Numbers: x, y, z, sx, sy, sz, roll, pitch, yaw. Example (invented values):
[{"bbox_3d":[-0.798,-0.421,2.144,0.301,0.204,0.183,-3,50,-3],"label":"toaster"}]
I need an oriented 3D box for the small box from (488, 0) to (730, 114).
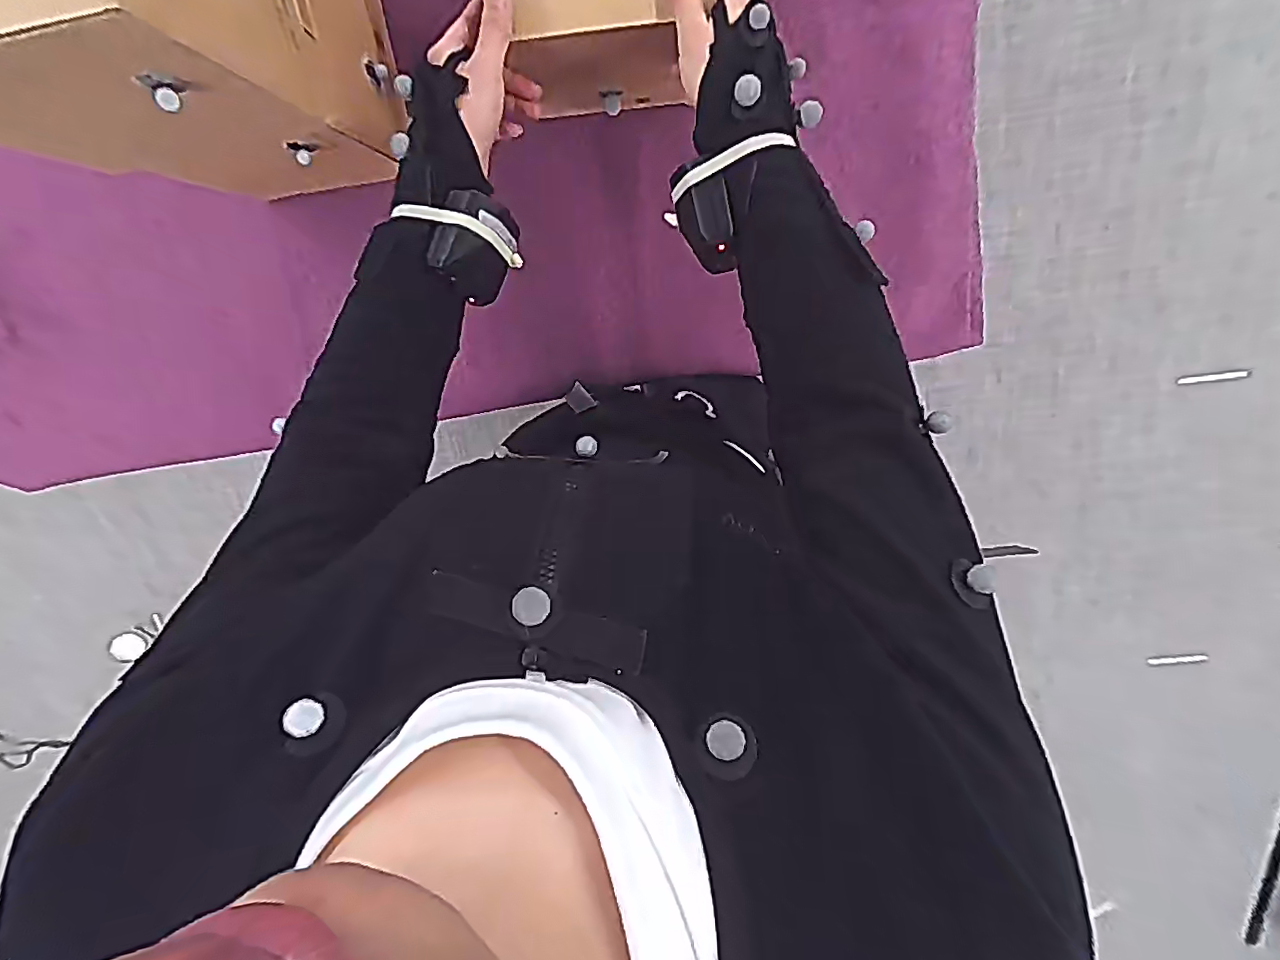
[{"bbox_3d":[-0.024,-0.415,0.416,0.168,0.176,0.179,-4,109,3],"label":"small box"}]

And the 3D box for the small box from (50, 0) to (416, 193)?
[{"bbox_3d":[-0.319,-0.353,0.448,0.179,0.176,0.168,-8,108,4],"label":"small box"}]
